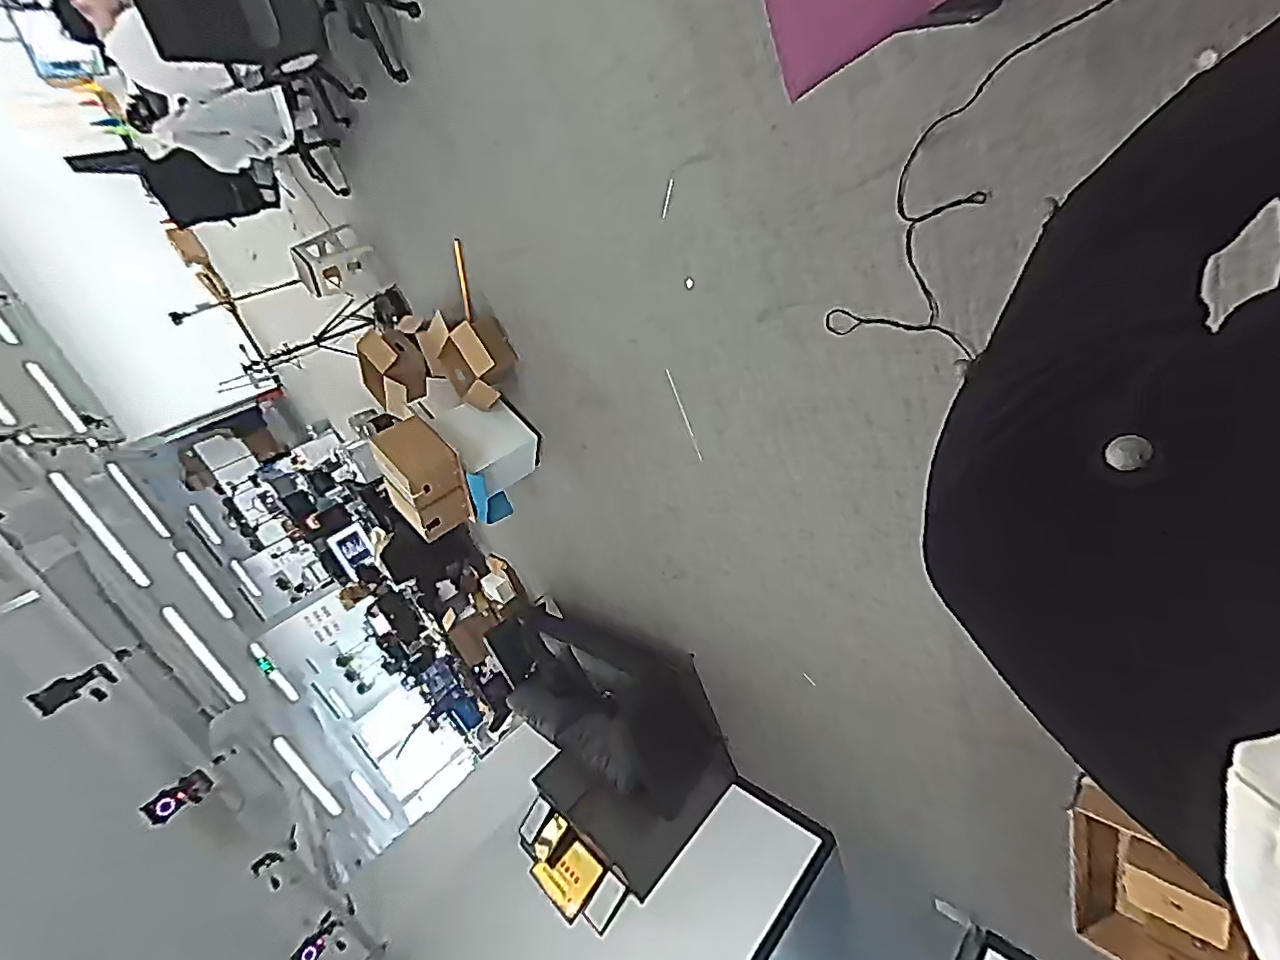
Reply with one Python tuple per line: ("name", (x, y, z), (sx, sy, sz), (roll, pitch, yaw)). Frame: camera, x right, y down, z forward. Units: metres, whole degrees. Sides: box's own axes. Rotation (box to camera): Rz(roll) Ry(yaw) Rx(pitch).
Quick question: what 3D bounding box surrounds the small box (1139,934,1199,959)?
("small box", (1.301, 1.252, 1.287), (0.168, 0.176, 0.179), (2, 120, 53))
